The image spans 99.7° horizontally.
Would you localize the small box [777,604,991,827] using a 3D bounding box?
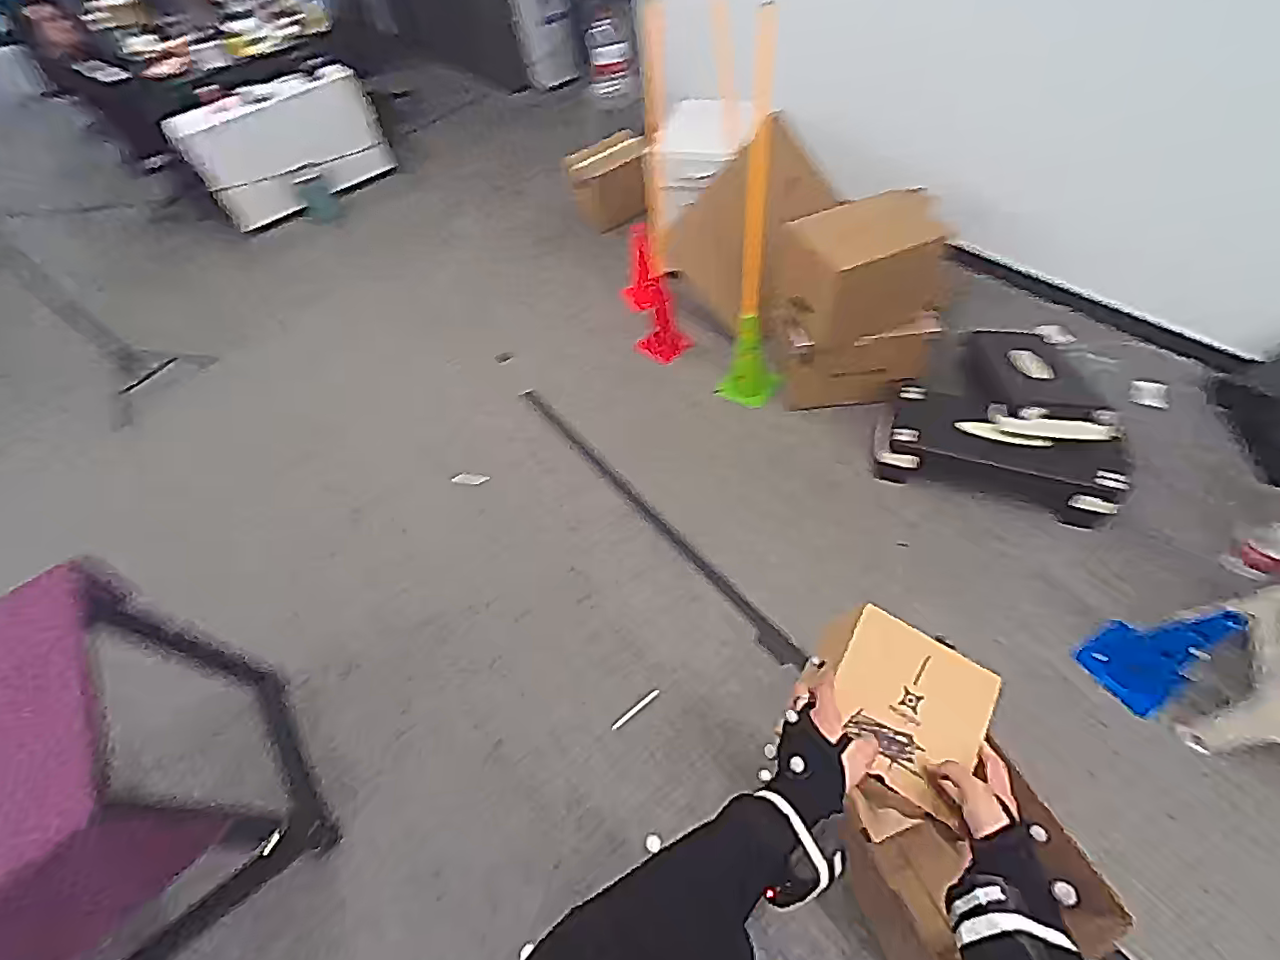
[{"bbox_3d":[0.286,0.286,0.673,0.168,0.176,0.179,29,69,13],"label":"small box"}]
